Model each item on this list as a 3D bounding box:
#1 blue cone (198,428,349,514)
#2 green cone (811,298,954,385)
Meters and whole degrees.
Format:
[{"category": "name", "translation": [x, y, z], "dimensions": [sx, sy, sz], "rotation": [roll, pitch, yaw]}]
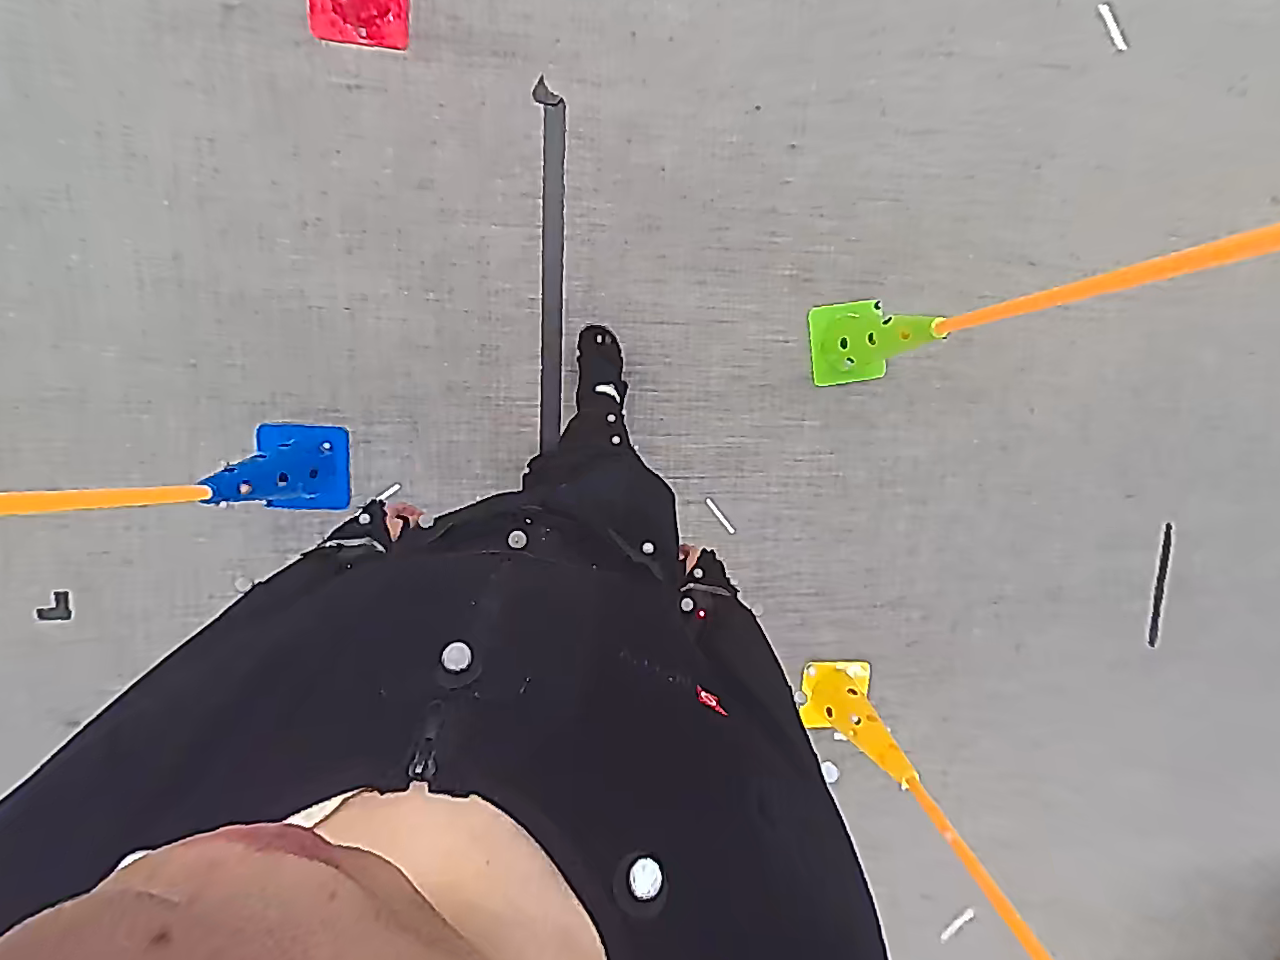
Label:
[{"category": "blue cone", "translation": [-0.762, 0.002, 1.103], "dimensions": [0.193, 0.380, 0.192], "rotation": [3, 99, -8]}, {"category": "green cone", "translation": [0.559, -0.323, 1.215], "dimensions": [0.200, 0.368, 0.202], "rotation": [-10, 101, -6]}]
